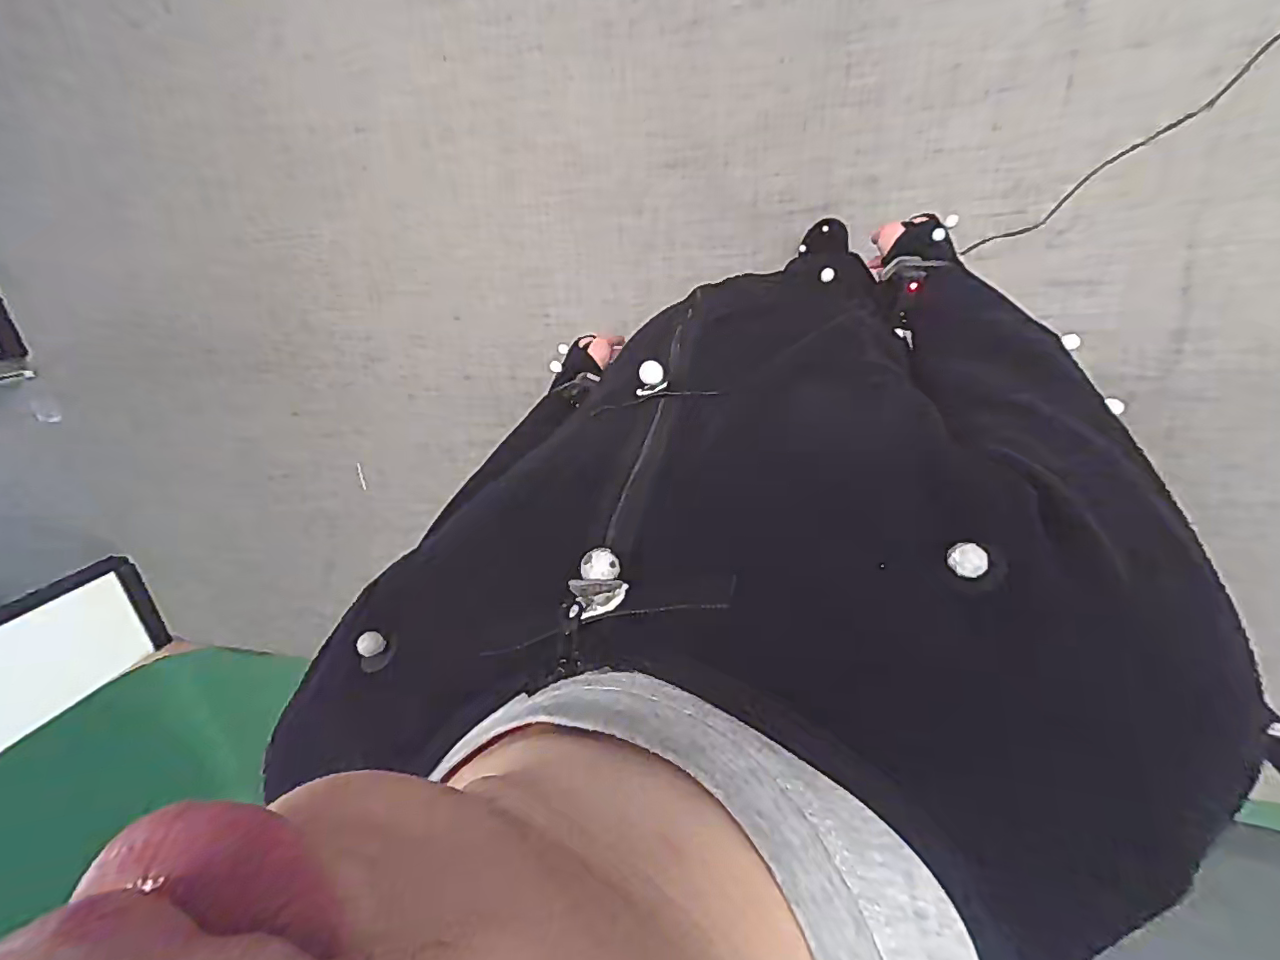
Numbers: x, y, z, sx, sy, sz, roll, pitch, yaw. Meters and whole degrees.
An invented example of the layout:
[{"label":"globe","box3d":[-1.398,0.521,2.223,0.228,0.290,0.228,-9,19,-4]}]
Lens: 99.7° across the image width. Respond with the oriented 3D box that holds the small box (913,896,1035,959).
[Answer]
[{"label":"small box","box3d":[0.616,0.910,0.988,0.179,0.176,0.168,2,112,17]}]
